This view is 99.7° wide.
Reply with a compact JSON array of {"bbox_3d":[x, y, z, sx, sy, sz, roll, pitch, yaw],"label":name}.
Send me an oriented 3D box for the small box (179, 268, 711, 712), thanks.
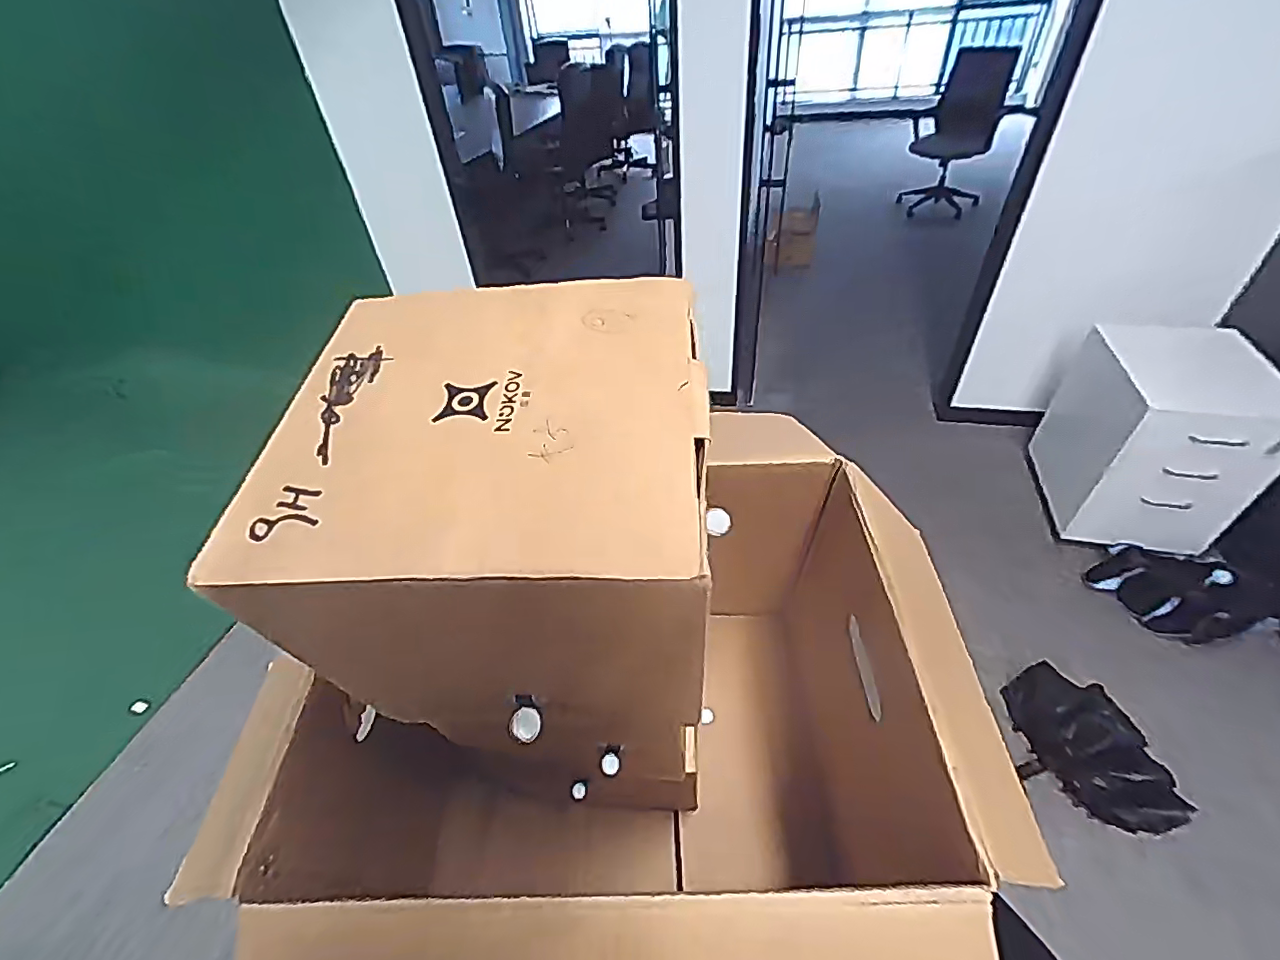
[{"bbox_3d":[-0.058,0.012,0.283,0.179,0.176,0.168,-1,51,4],"label":"small box"}]
